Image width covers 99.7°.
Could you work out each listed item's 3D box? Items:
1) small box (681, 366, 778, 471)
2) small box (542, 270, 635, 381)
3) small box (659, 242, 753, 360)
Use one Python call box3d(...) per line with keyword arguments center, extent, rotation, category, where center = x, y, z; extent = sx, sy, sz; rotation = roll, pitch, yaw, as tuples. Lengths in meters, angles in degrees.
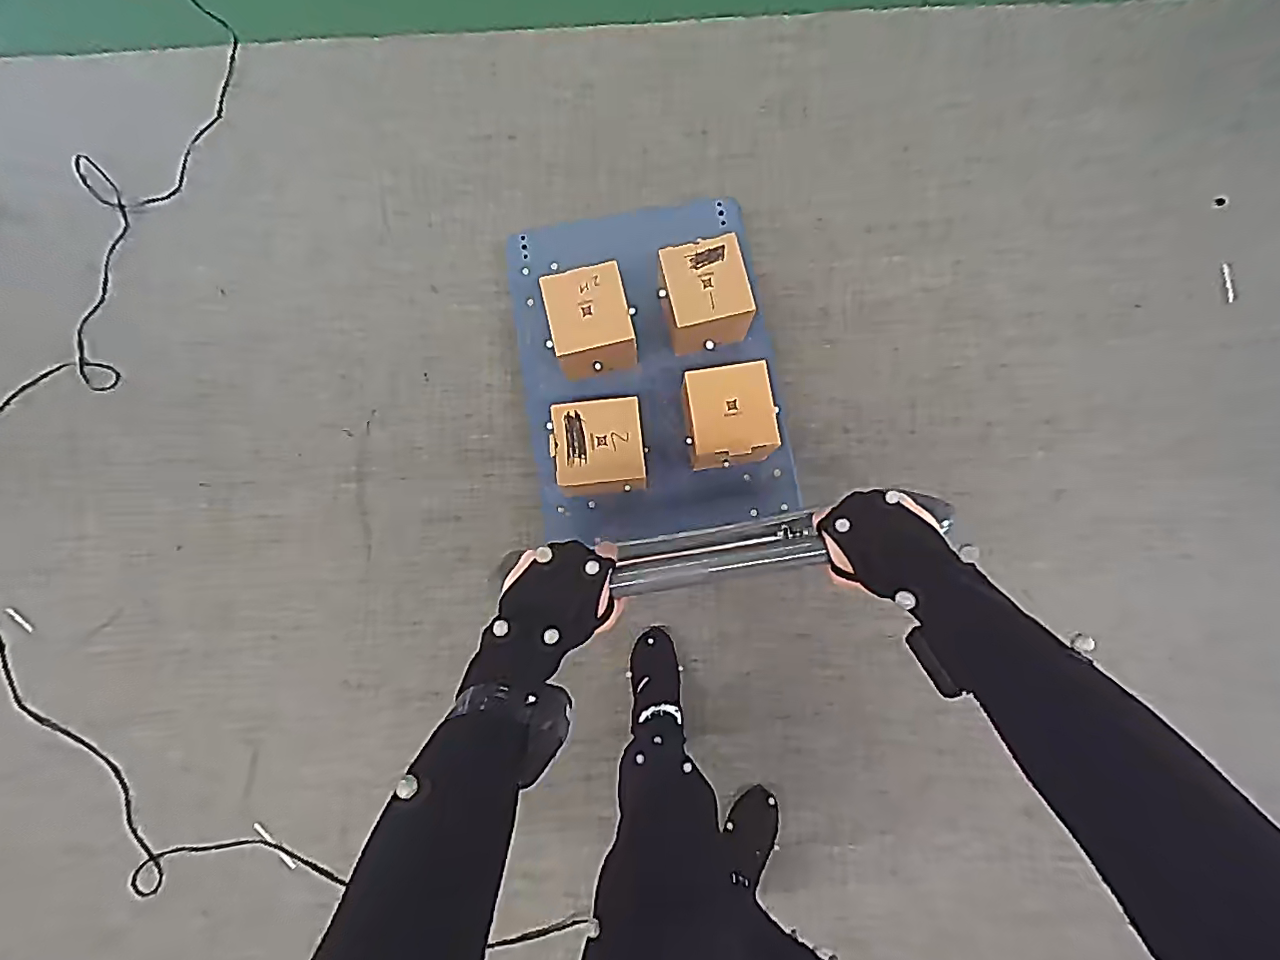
box3d(center=(0.183, -0.126, 1.164), extent=(0.168, 0.176, 0.179), rotation=(-9, 82, 0), category="small box")
box3d(center=(-0.107, -0.330, 1.198), extent=(0.168, 0.176, 0.179), rotation=(-13, 82, -1), category="small box")
box3d(center=(0.138, -0.390, 1.201), extent=(0.168, 0.176, 0.179), rotation=(-13, 83, 0), category="small box")
